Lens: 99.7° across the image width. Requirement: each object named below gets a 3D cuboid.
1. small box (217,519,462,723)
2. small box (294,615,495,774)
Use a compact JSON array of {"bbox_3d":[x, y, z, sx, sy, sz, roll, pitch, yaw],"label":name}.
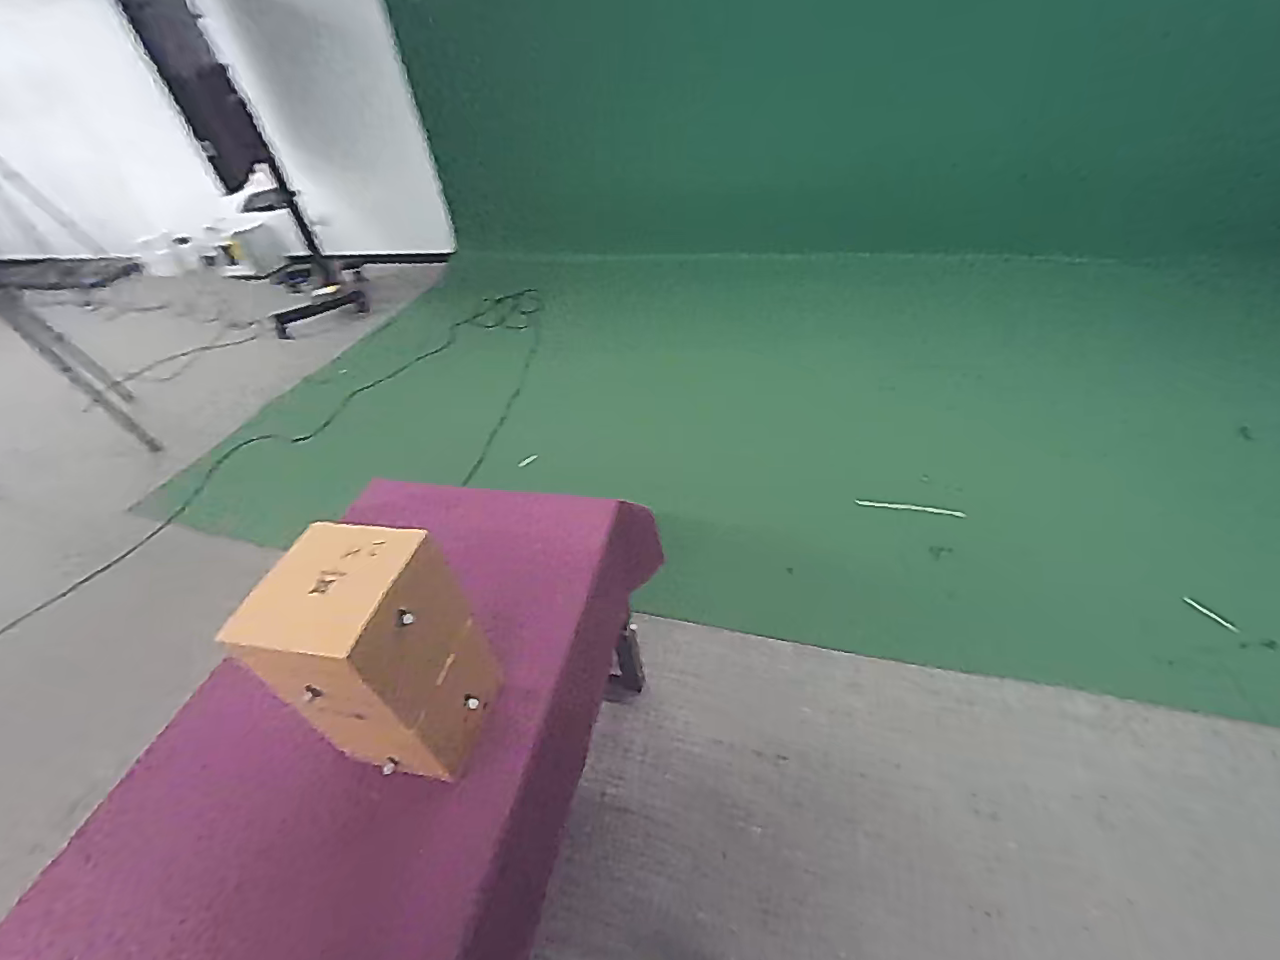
[{"bbox_3d":[-0.345,0.173,0.666,0.168,0.176,0.179,4,43,13],"label":"small box"},{"bbox_3d":[-0.331,0.297,0.775,0.179,0.176,0.168,5,43,13],"label":"small box"}]
